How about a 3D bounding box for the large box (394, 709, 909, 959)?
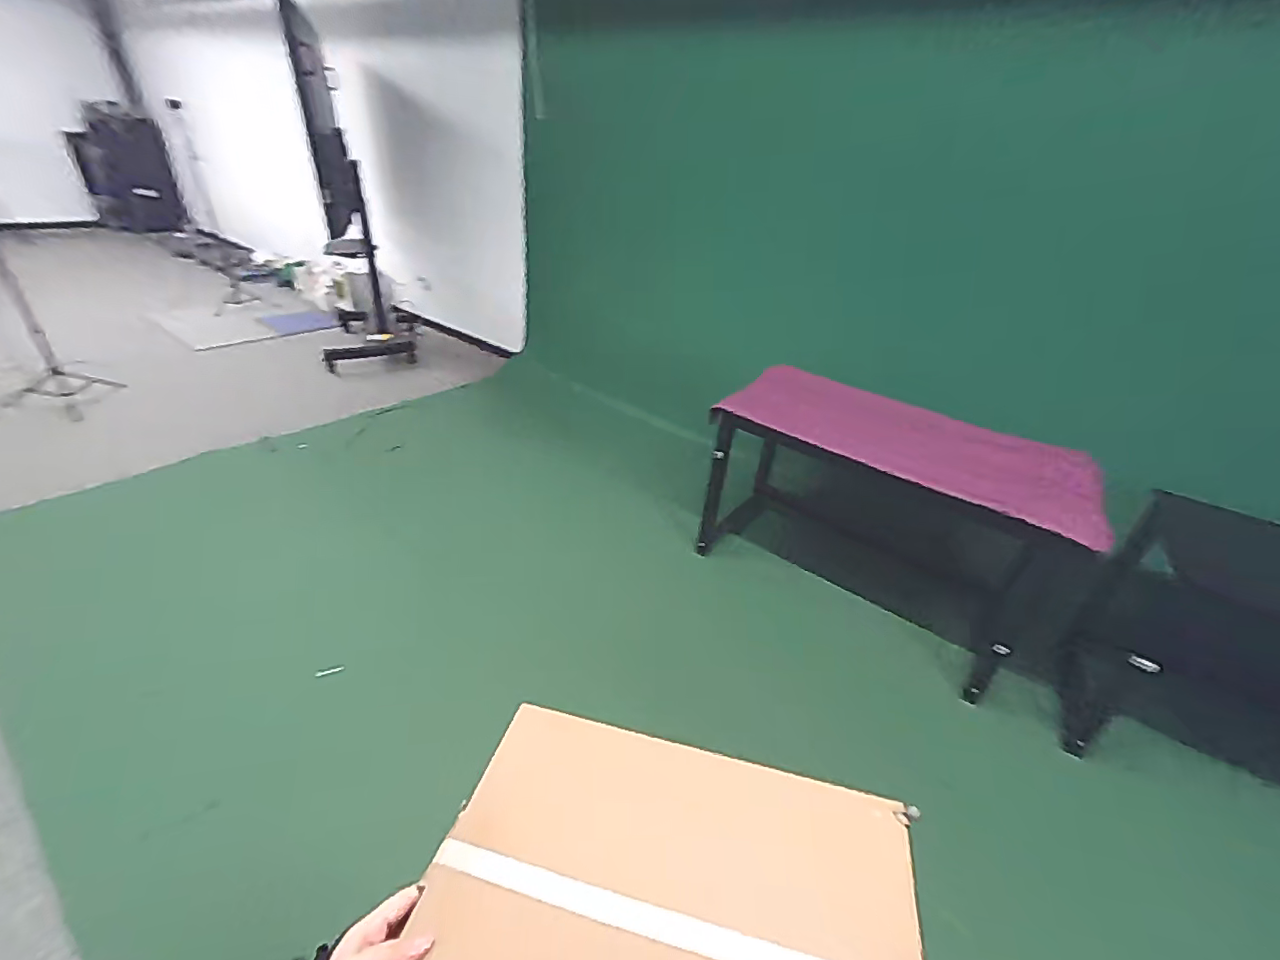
[{"bbox_3d":[0.013,0.489,0.531,0.408,0.320,0.320,9,34,11],"label":"large box"}]
